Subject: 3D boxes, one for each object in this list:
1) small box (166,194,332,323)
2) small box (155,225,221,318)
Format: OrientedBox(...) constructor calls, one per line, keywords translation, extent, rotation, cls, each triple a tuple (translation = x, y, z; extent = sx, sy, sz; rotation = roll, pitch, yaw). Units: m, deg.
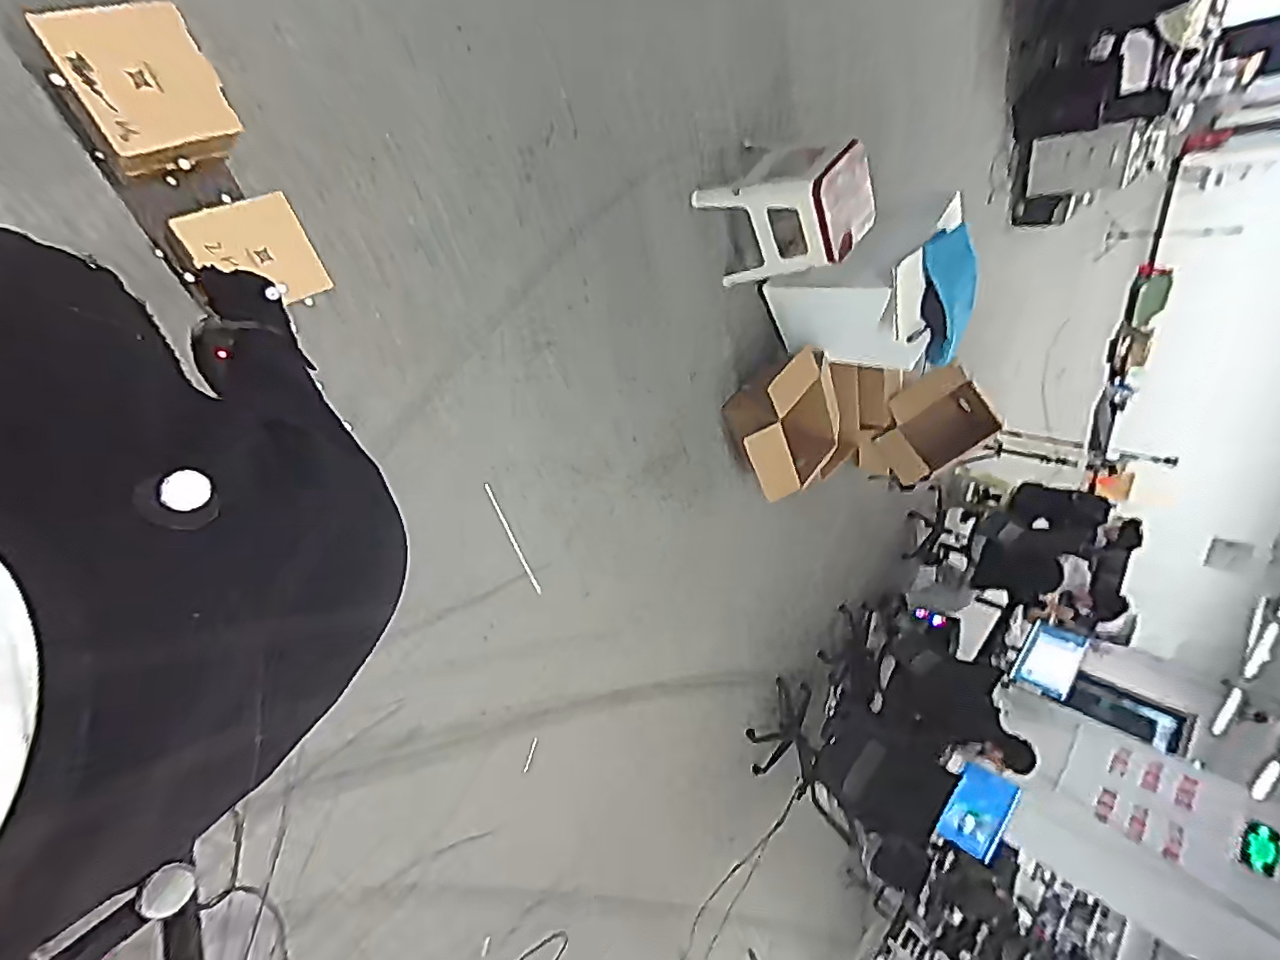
OrientedBox(translation=(-0.699, -0.394, 0.967), extent=(0.179, 0.176, 0.168), rotation=(-37, 127, -29), cls="small box")
OrientedBox(translation=(-0.815, -0.434, 1.078), extent=(0.179, 0.176, 0.168), rotation=(-38, 128, -29), cls="small box")
